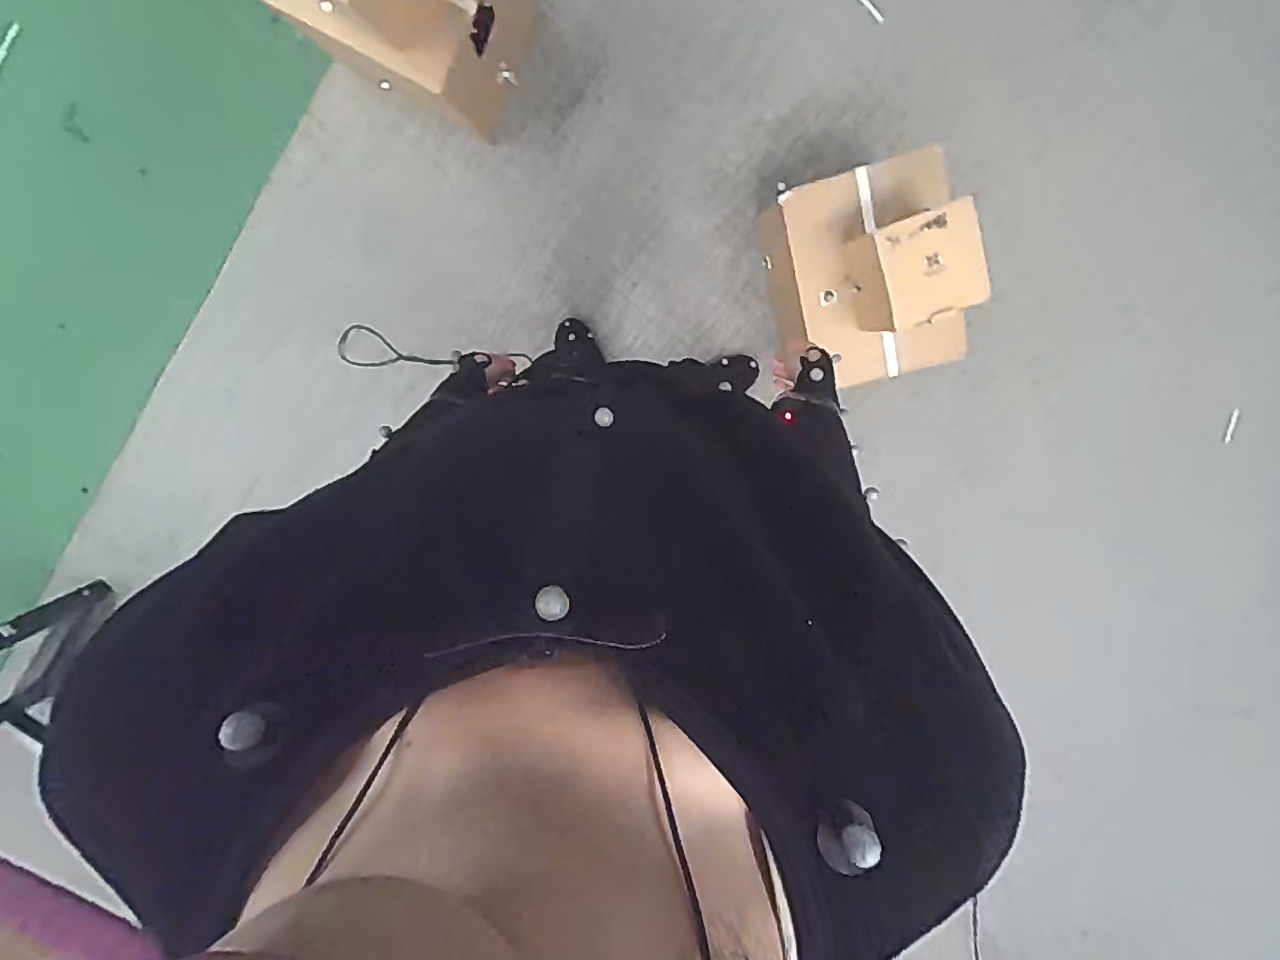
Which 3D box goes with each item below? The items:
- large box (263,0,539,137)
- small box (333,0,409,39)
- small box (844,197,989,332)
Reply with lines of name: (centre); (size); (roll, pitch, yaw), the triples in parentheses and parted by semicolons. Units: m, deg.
large box: (-0.473, -0.990, 1.104); (0.408, 0.320, 0.320); (27, 105, -4)
small box: (-0.474, -0.883, 0.880); (0.168, 0.176, 0.179); (31, 106, -7)
small box: (0.494, -0.383, 0.984); (0.168, 0.176, 0.179); (-18, 106, 6)
